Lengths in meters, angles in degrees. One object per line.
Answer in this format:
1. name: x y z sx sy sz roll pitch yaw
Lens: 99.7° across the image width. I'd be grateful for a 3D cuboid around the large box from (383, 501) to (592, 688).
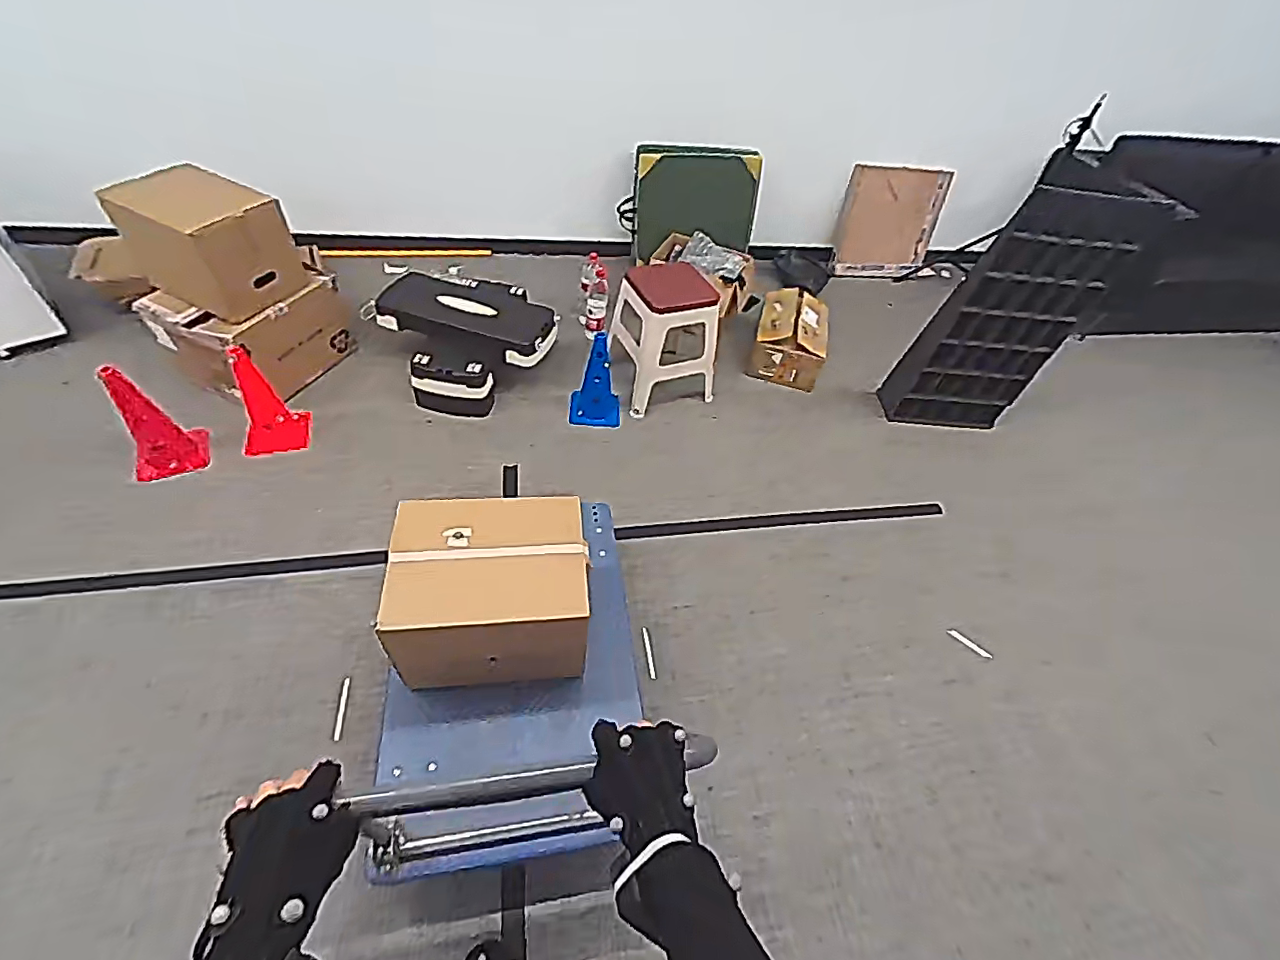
1. large box: -0.329 0.269 1.267 0.408 0.320 0.320 -2 49 -9
